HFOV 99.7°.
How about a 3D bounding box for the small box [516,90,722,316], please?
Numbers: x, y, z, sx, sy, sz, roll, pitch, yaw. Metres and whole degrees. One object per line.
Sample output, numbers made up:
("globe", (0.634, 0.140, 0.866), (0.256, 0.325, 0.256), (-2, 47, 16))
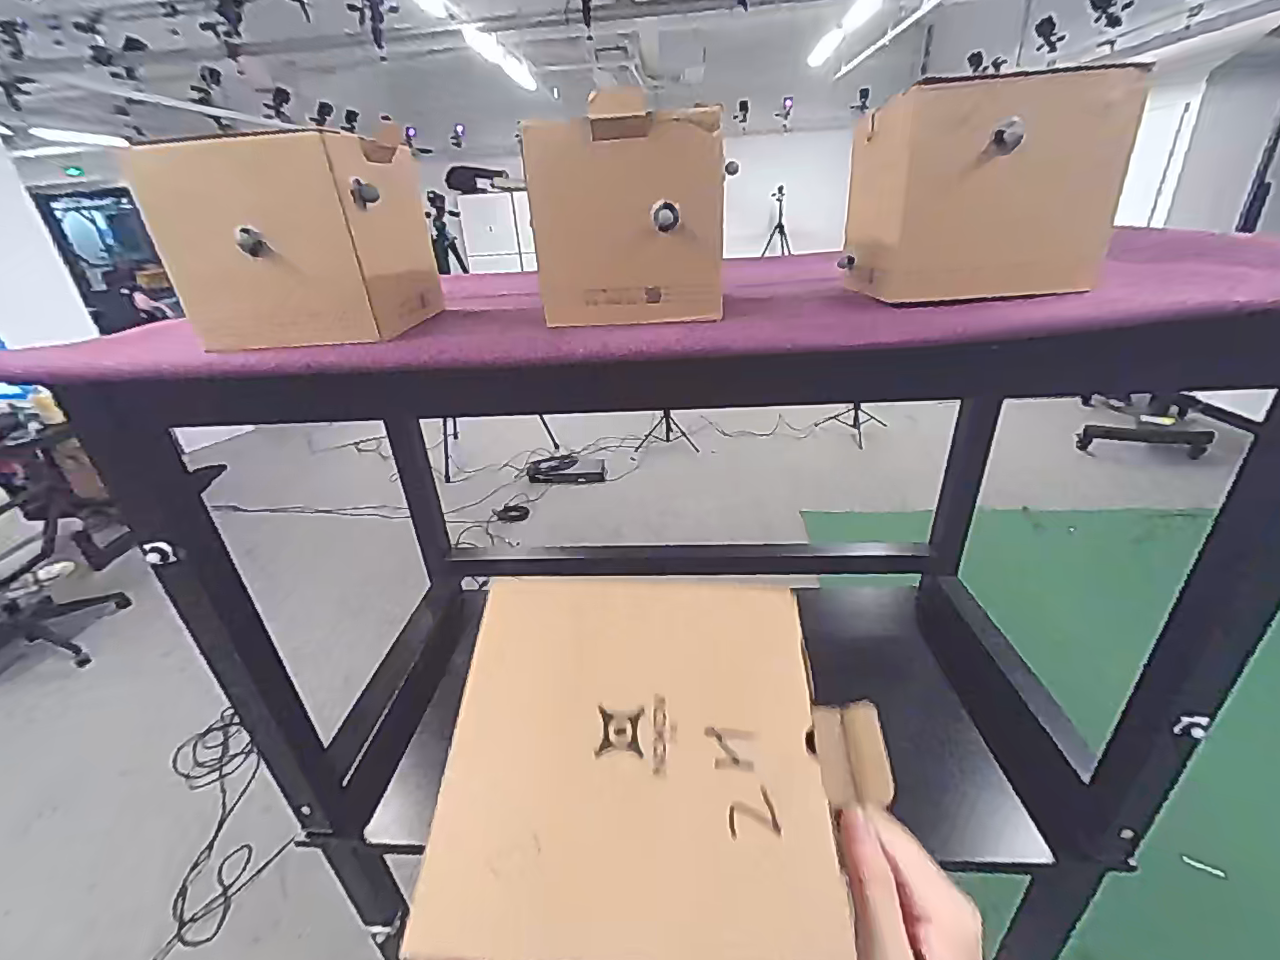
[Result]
("small box", (-0.004, -0.258, 0.528), (0.168, 0.176, 0.179), (1, 27, 7))

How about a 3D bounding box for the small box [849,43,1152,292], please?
("small box", (0.307, -0.275, 0.511), (0.179, 0.176, 0.168), (-2, 25, 4))
